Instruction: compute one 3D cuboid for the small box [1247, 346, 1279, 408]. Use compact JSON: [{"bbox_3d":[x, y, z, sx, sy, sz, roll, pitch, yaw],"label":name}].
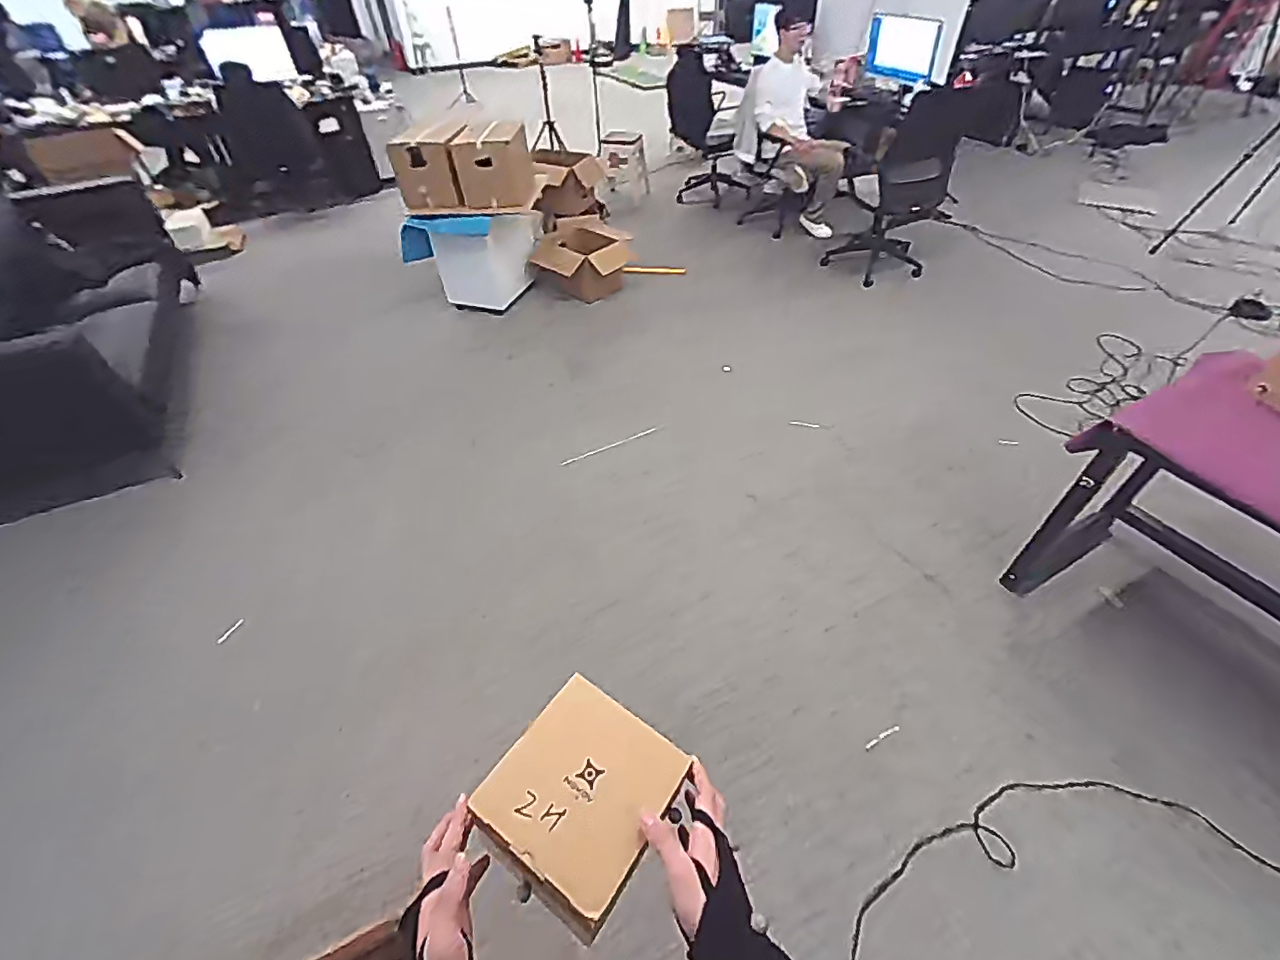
[{"bbox_3d":[1.705,-0.271,1.352,0.179,0.176,0.168,-21,48,-16],"label":"small box"}]
